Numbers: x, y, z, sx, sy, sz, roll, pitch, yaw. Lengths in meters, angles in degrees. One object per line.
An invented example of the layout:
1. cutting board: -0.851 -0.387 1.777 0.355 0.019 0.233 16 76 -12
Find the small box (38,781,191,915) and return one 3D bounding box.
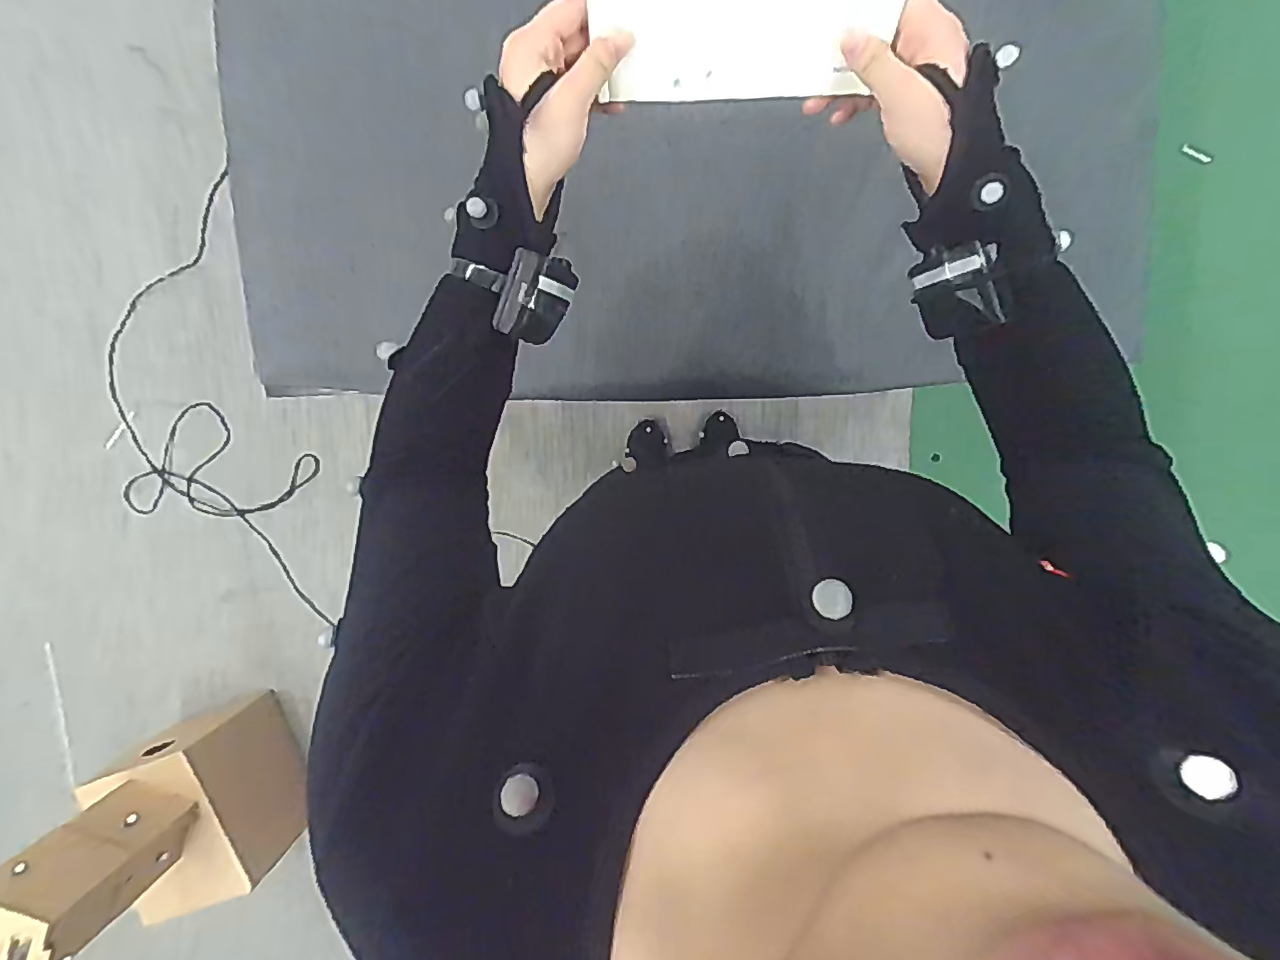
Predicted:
1. small box: -1.187 0.830 1.236 0.179 0.176 0.168 19 96 -3
